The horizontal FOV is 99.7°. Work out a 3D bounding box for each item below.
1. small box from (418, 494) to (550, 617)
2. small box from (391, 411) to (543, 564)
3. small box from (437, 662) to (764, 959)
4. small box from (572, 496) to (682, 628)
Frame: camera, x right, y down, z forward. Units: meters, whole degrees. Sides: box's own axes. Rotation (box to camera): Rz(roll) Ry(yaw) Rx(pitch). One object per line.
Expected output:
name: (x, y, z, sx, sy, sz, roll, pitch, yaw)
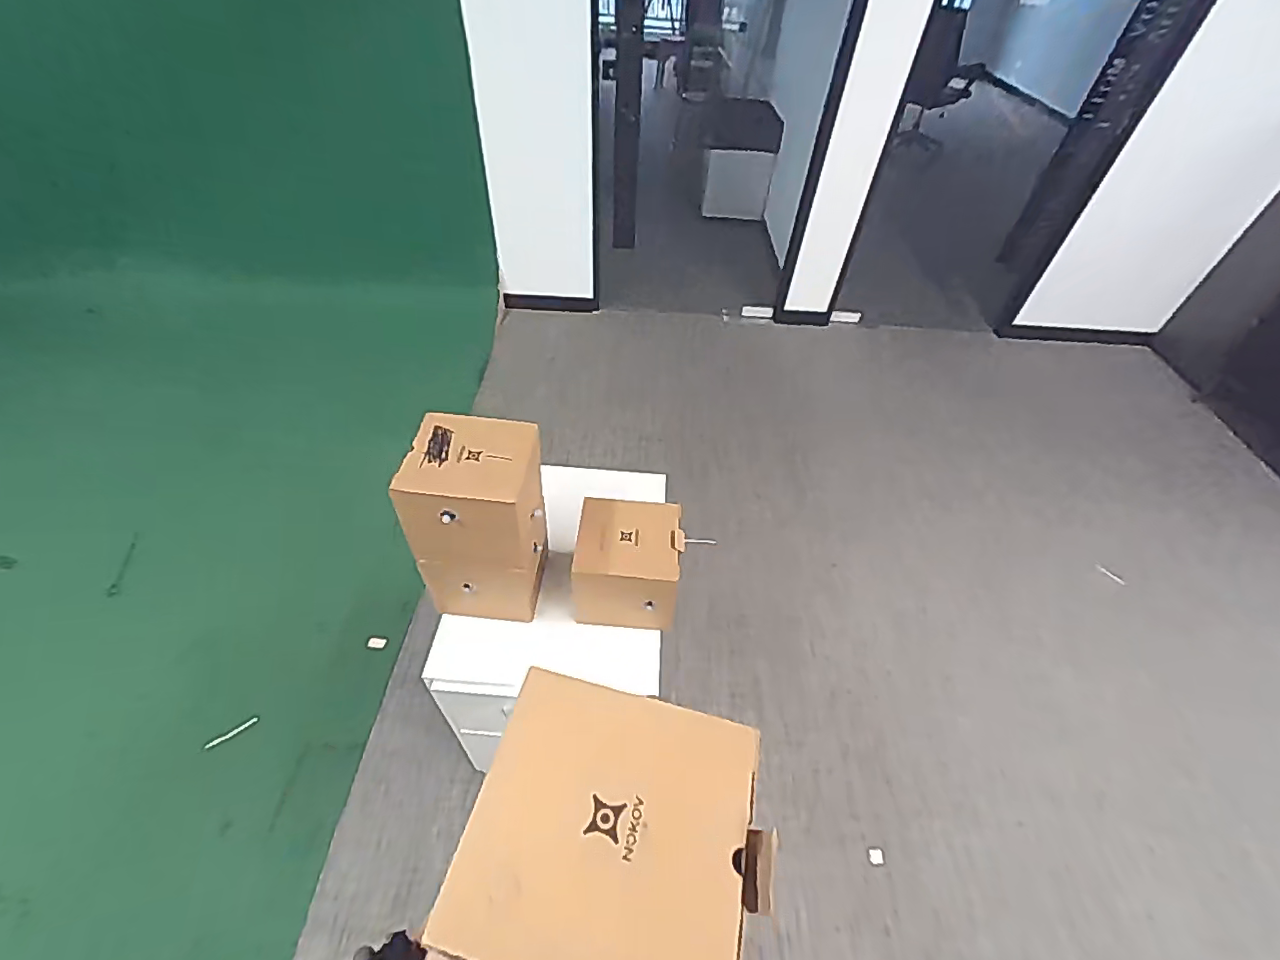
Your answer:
small box: (-0.265, 0.130, 0.962, 0.179, 0.176, 0.168, 6, 48, 0)
small box: (-0.253, 0.016, 0.843, 0.179, 0.176, 0.168, 6, 48, -2)
small box: (-0.019, 0.266, 0.401, 0.179, 0.176, 0.168, 13, 47, 5)
small box: (-0.019, 0.150, 0.966, 0.179, 0.176, 0.168, 3, 46, 1)
